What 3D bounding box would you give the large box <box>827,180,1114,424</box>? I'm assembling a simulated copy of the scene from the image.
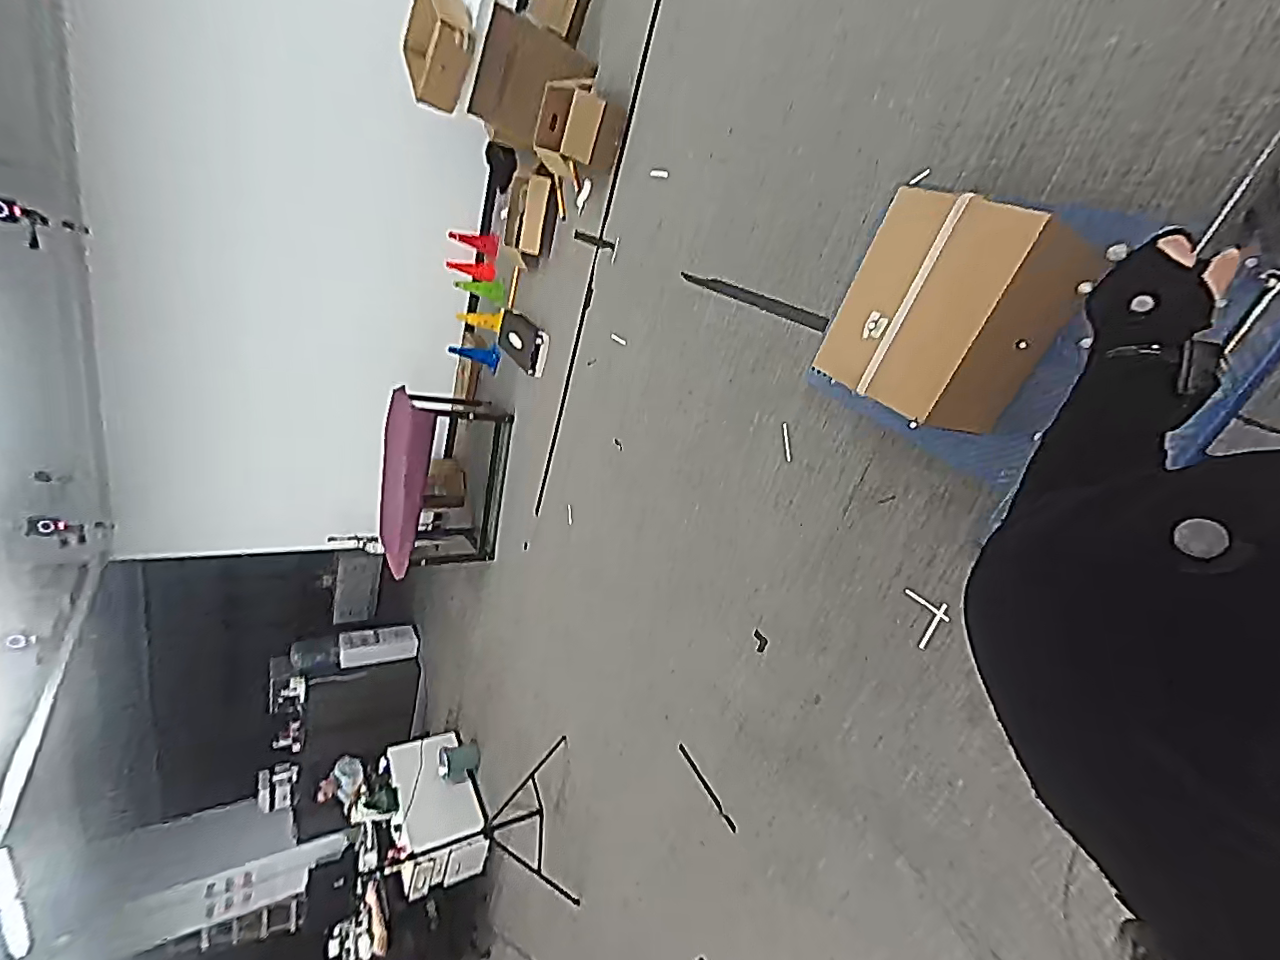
[{"bbox_3d":[0.693,-0.373,1.172,0.320,0.320,0.408,49,128,45],"label":"large box"}]
